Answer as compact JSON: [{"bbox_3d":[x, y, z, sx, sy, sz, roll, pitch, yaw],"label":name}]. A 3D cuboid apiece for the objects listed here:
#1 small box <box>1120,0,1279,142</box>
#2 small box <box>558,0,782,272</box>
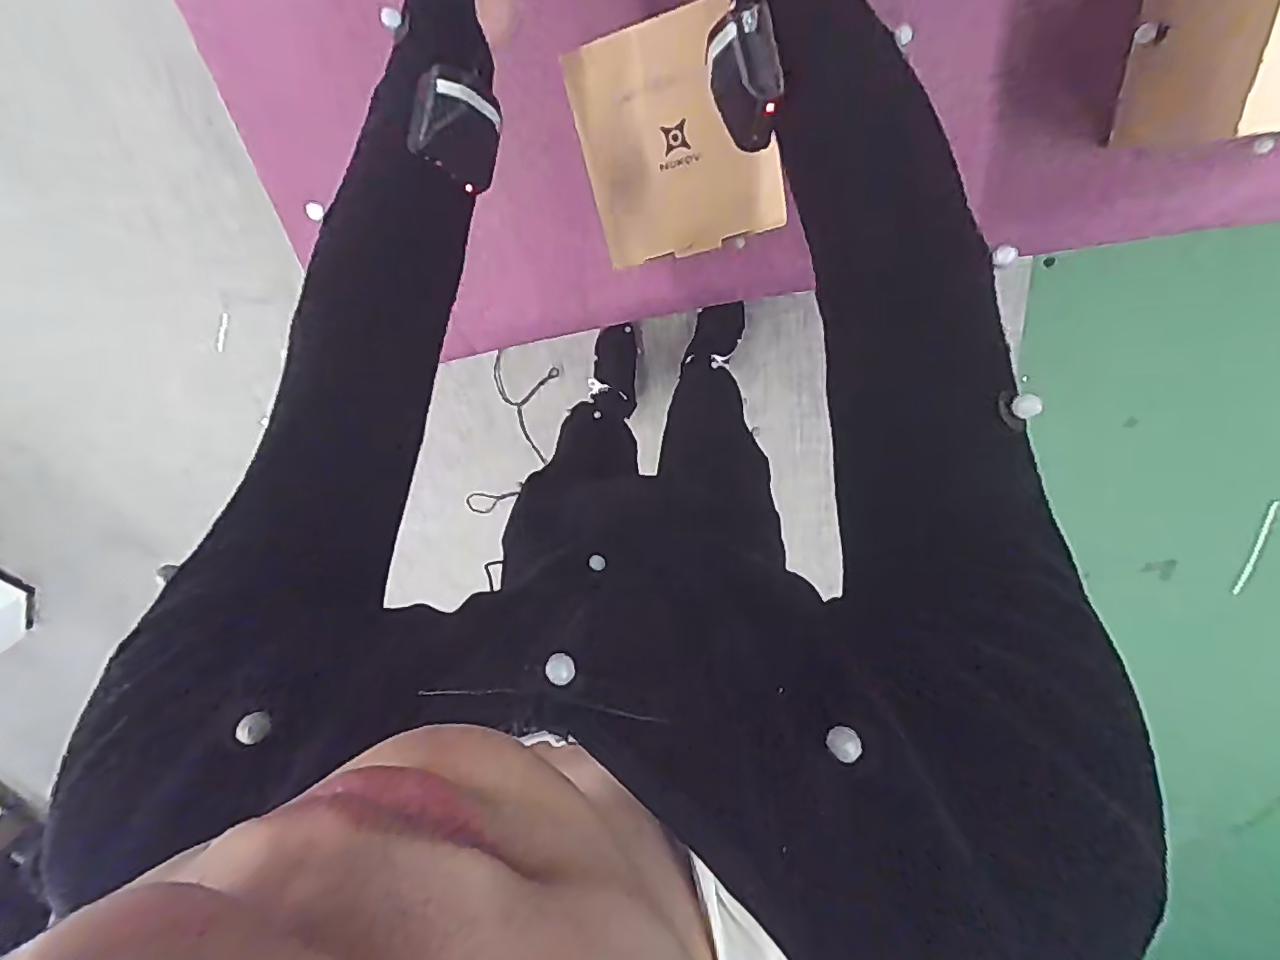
[{"bbox_3d":[0.517,-0.365,0.406,0.168,0.176,0.179,-1,119,12],"label":"small box"},{"bbox_3d":[0.043,-0.324,0.528,0.168,0.176,0.179,-9,117,15],"label":"small box"}]
